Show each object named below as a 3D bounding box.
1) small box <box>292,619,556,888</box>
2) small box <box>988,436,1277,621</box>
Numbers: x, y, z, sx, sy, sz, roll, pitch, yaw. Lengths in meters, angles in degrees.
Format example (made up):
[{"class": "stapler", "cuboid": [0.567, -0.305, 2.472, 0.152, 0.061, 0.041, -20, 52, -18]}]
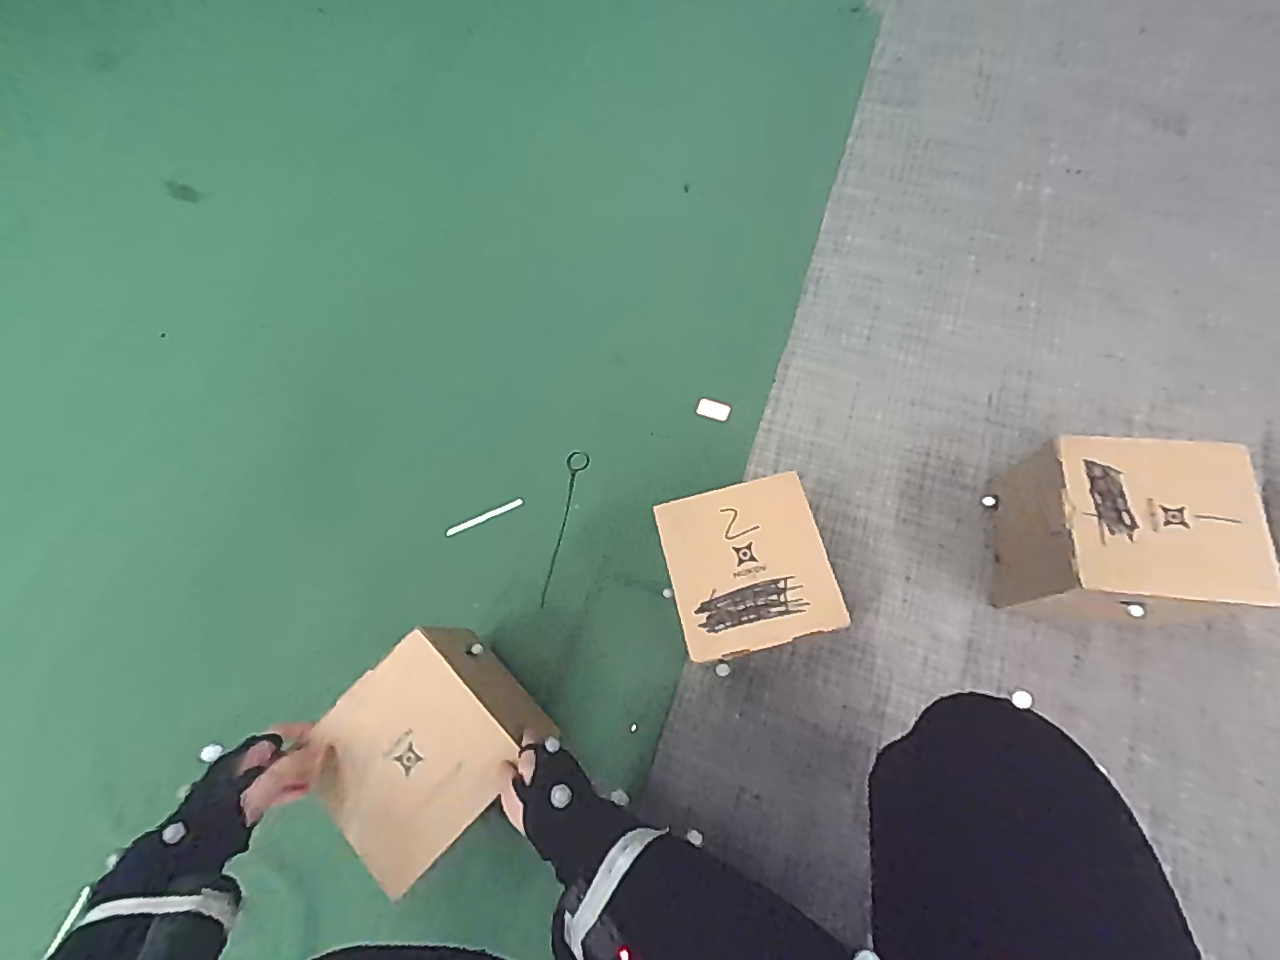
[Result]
[{"class": "small box", "cuboid": [-0.216, 0.277, 0.589, 0.168, 0.176, 0.179, -44, 77, -11]}, {"class": "small box", "cuboid": [0.523, 0.062, 0.613, 0.179, 0.176, 0.168, 4, 71, 8]}]
